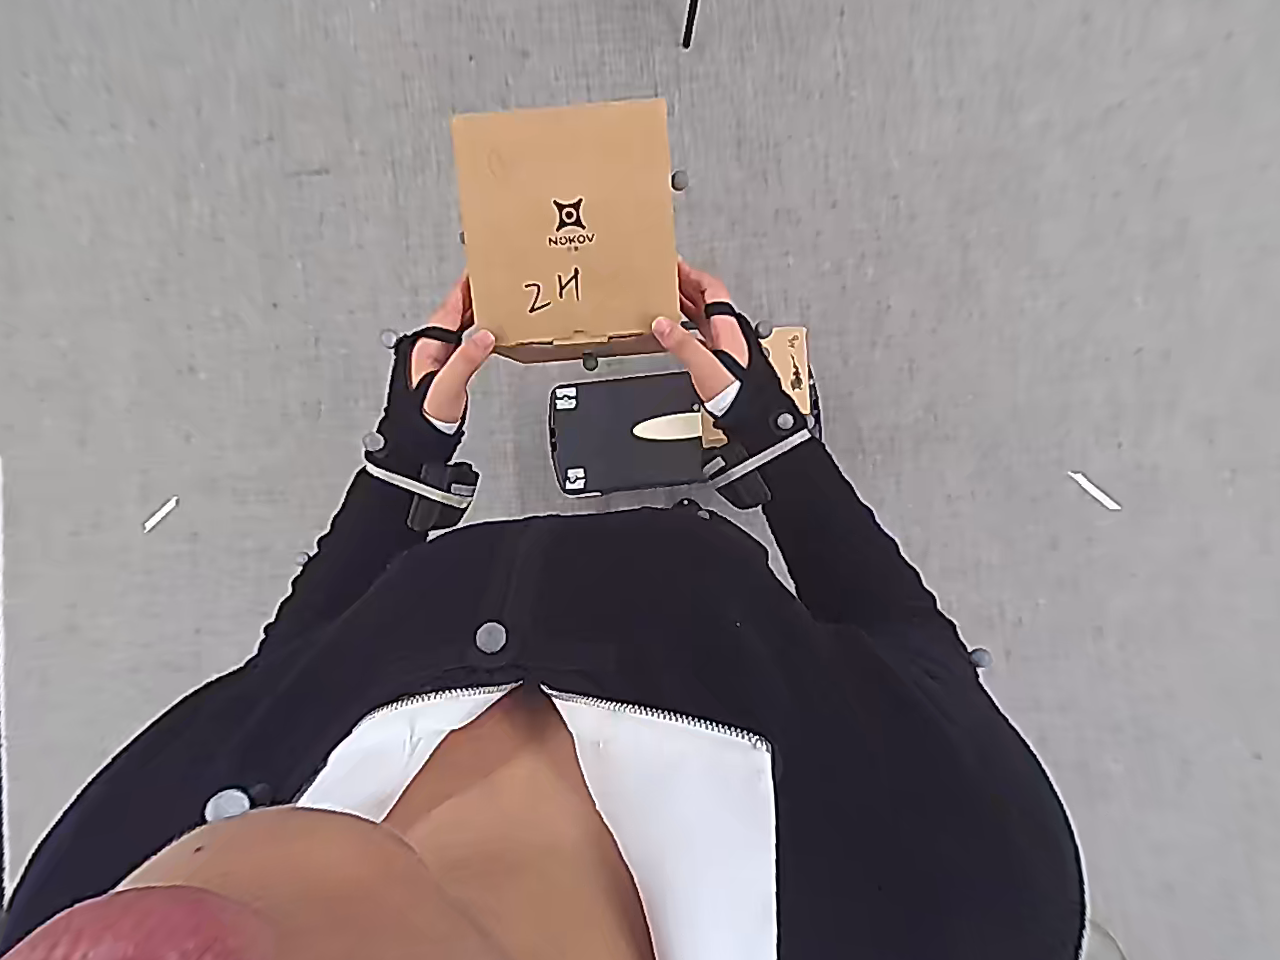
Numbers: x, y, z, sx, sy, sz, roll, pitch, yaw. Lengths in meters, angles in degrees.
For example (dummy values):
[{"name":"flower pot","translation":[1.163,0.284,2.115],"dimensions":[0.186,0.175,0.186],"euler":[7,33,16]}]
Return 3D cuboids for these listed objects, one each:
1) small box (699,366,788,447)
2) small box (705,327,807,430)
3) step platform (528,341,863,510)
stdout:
[{"name":"small box","translation":[0.225,-0.166,1.231],"dimensions":[0.179,0.176,0.168],"euler":[-4,87,3]},{"name":"small box","translation":[0.220,-0.192,1.069],"dimensions":[0.179,0.176,0.168],"euler":[-2,87,3]},{"name":"step platform","translation":[0.112,-0.107,1.196],"dimensions":[0.684,0.204,0.286],"euler":[-6,87,1]}]
